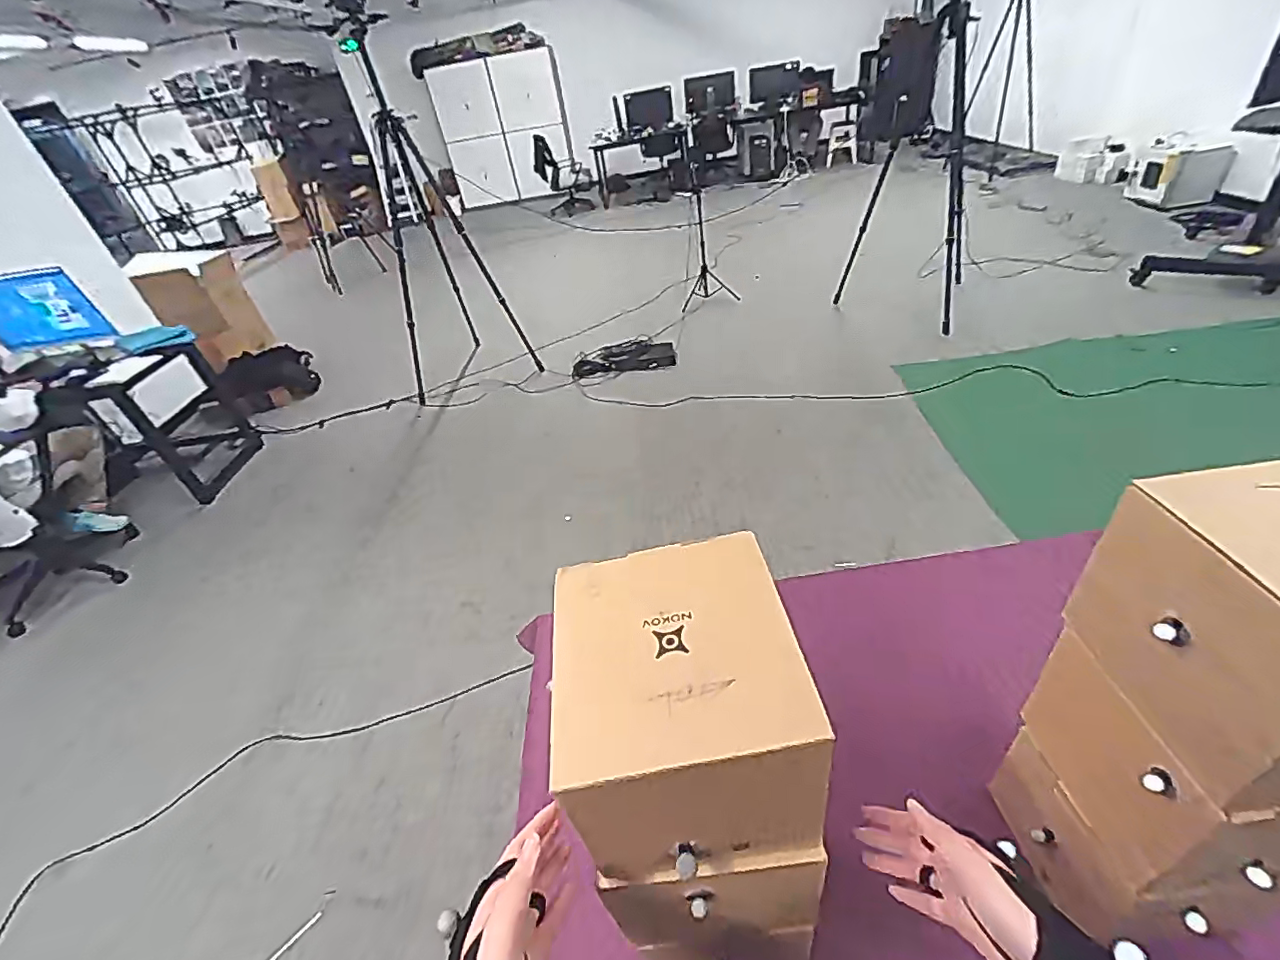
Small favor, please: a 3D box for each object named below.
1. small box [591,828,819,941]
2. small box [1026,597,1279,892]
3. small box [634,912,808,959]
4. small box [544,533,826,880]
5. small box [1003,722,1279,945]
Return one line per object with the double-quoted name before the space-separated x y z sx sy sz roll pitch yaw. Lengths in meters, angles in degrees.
"small box" 0.057 0.304 0.510 0.179 0.176 0.168 -9 37 2
"small box" 0.496 0.234 0.487 0.168 0.176 0.179 -9 38 3
"small box" 0.084 0.432 0.610 0.168 0.176 0.179 -9 37 3
"small box" 0.030 0.171 0.420 0.168 0.176 0.179 -11 38 2
"small box" 0.526 0.366 0.579 0.179 0.176 0.168 -10 37 3
